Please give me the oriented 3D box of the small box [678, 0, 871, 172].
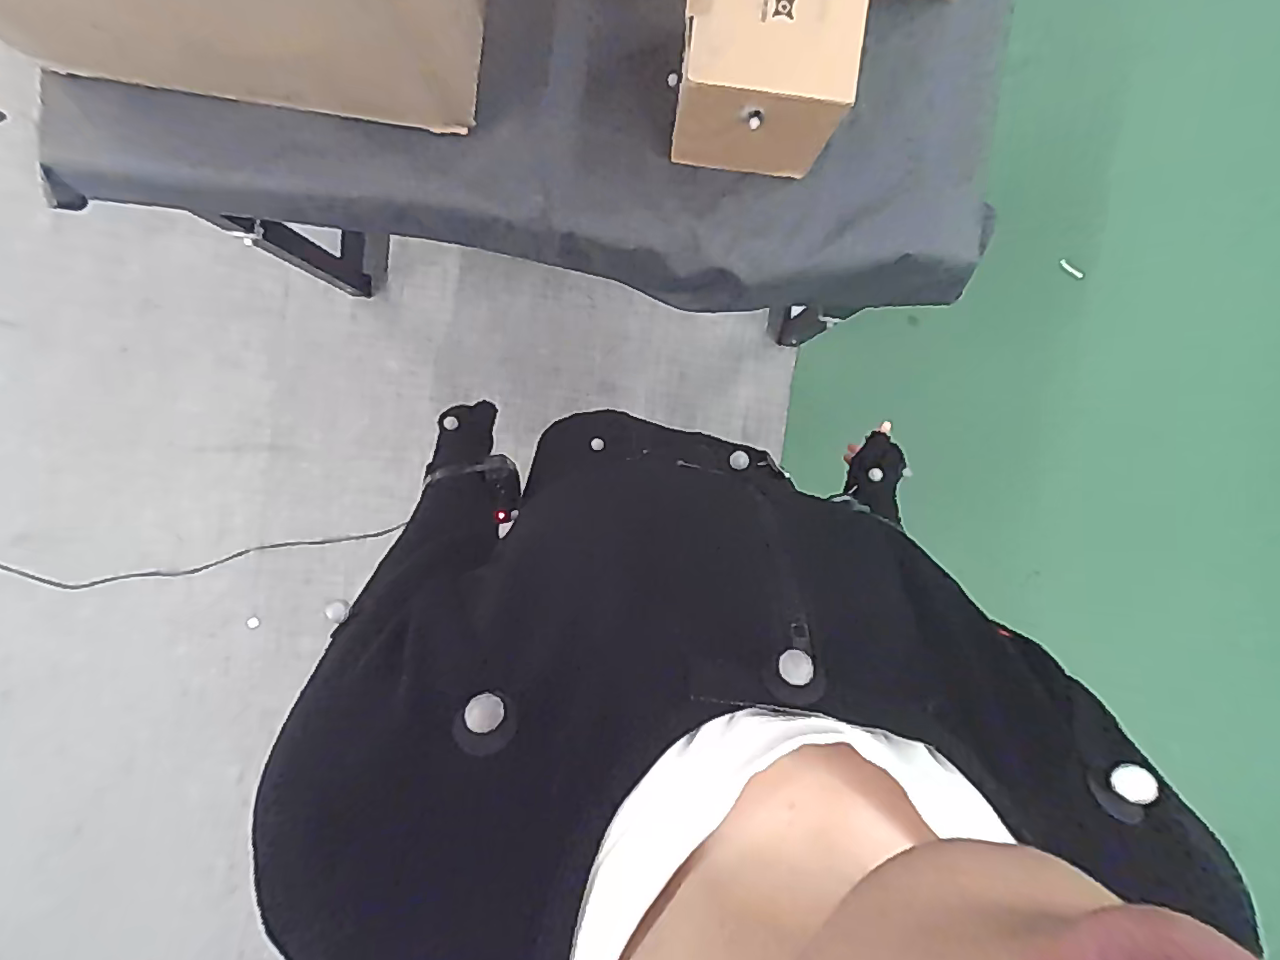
[{"bbox_3d":[0.143,-0.482,0.621,0.179,0.176,0.168,7,95,-3],"label":"small box"}]
